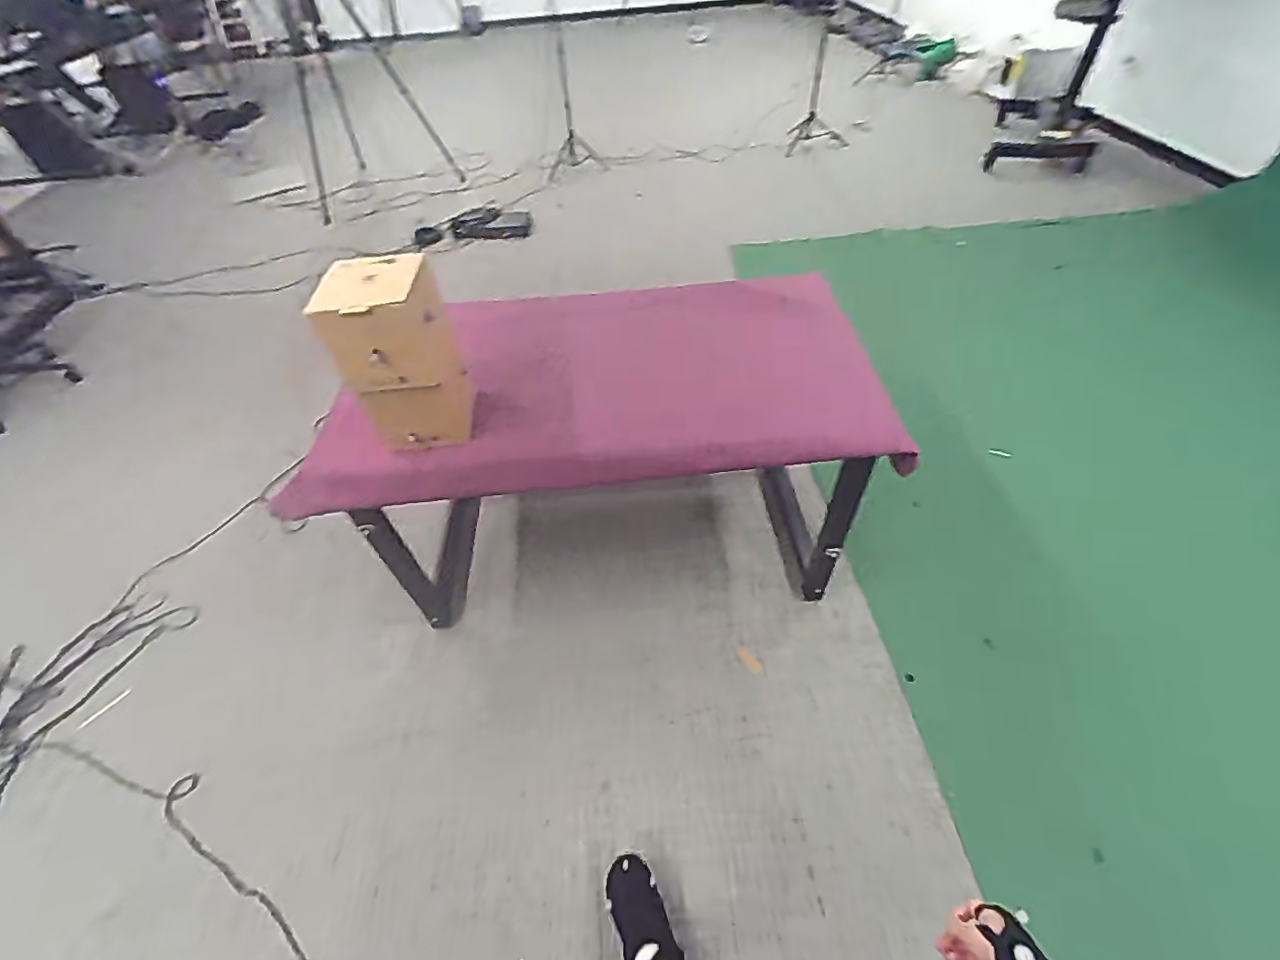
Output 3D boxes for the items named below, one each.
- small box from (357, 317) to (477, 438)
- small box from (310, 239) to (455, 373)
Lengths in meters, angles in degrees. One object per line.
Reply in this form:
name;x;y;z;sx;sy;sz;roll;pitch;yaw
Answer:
small box;-0.441;-0.208;1.106;0.168;0.176;0.179;-6;50;-1
small box;-0.447;-0.306;0.974;0.168;0.176;0.179;-4;50;0
